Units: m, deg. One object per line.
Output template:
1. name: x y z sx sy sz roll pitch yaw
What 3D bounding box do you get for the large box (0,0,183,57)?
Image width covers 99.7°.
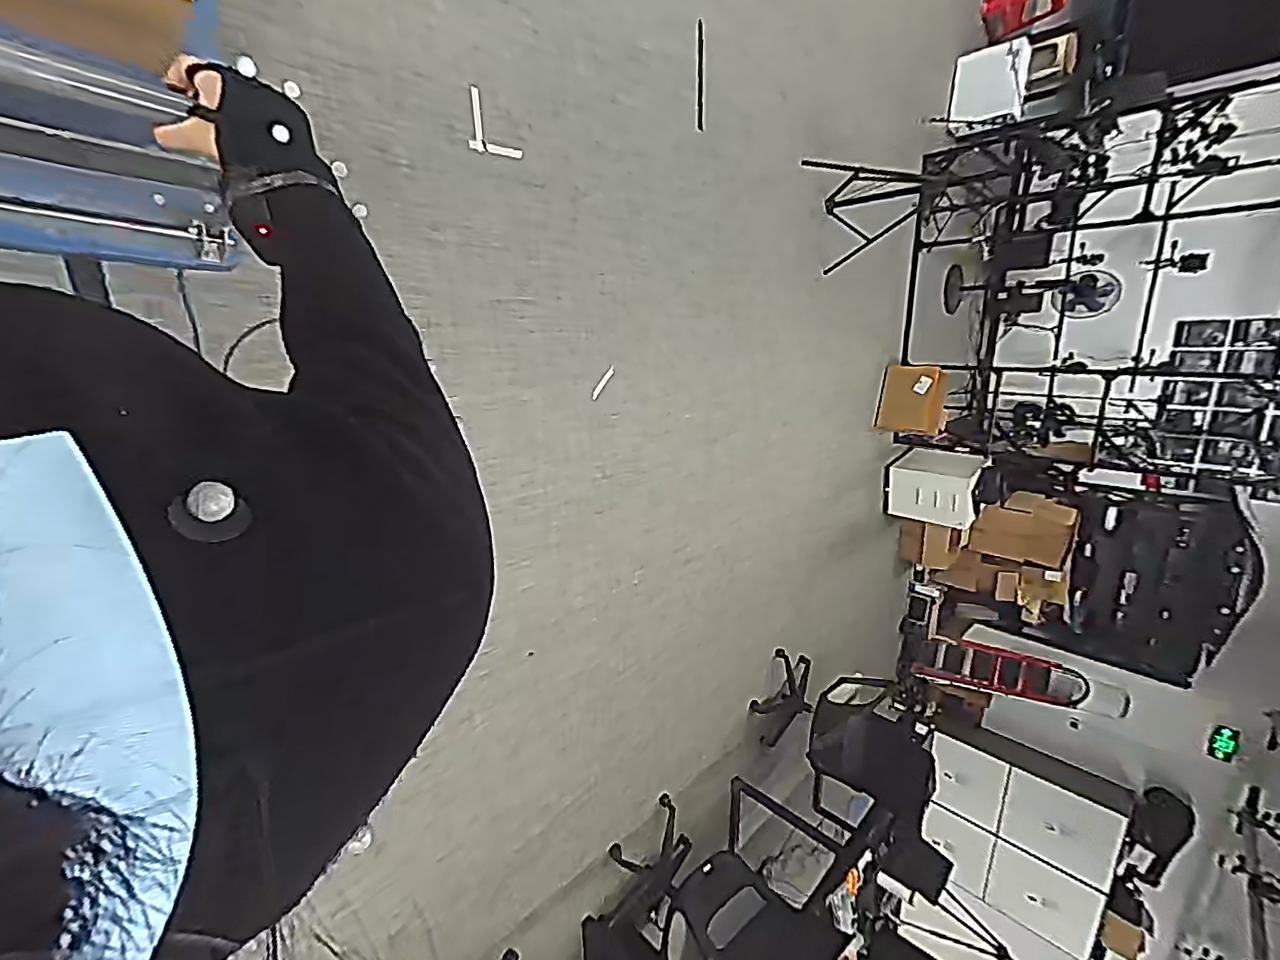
1. large box: -0.856 -0.827 0.672 0.408 0.320 0.320 -8 105 -44
